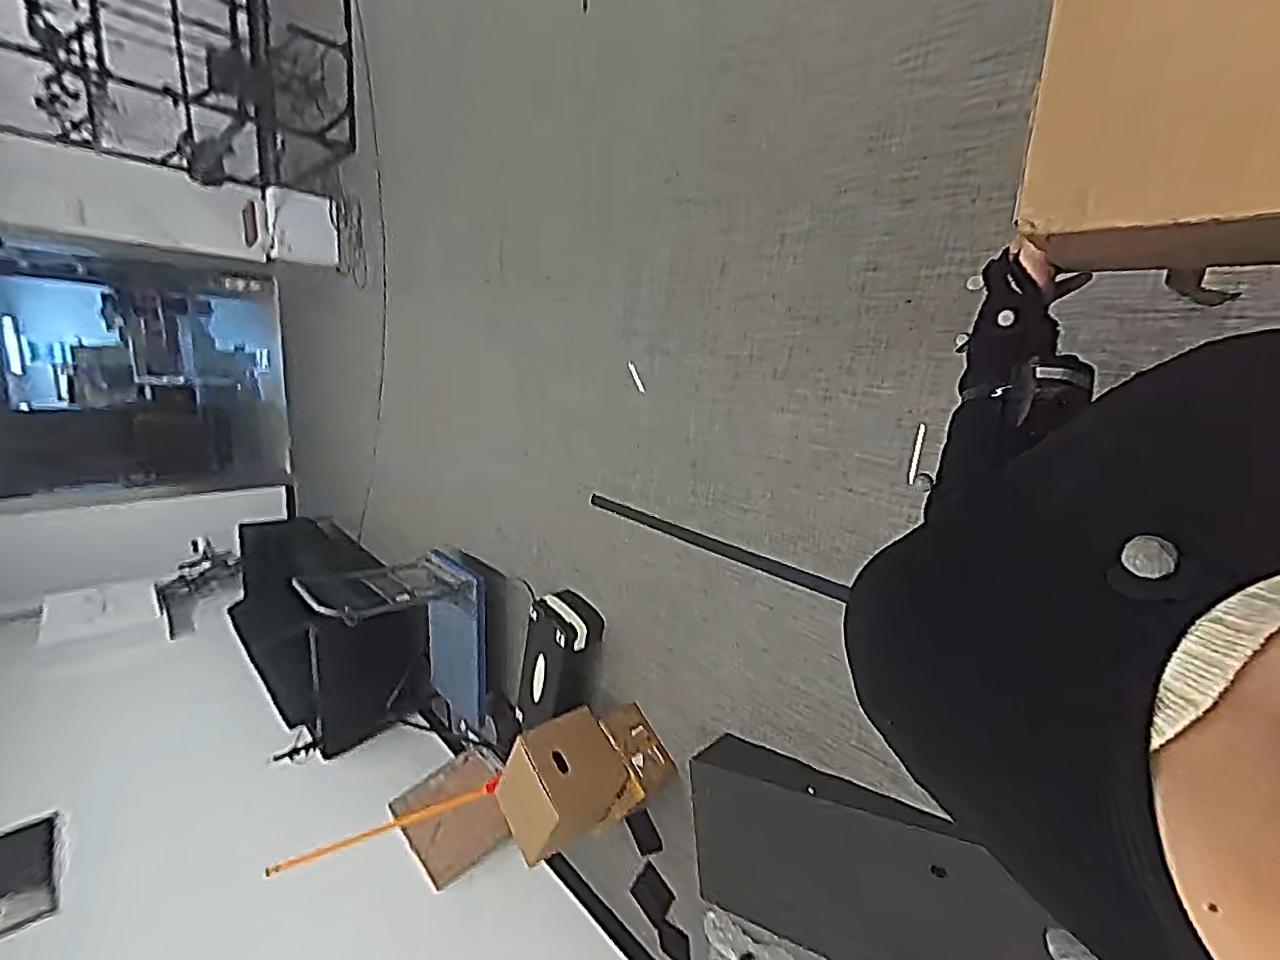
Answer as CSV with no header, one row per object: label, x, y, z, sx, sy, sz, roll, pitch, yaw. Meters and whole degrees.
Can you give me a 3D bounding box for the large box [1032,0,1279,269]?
large box,0.444,-0.276,0.228,0.408,0.320,0.320,13,112,37
